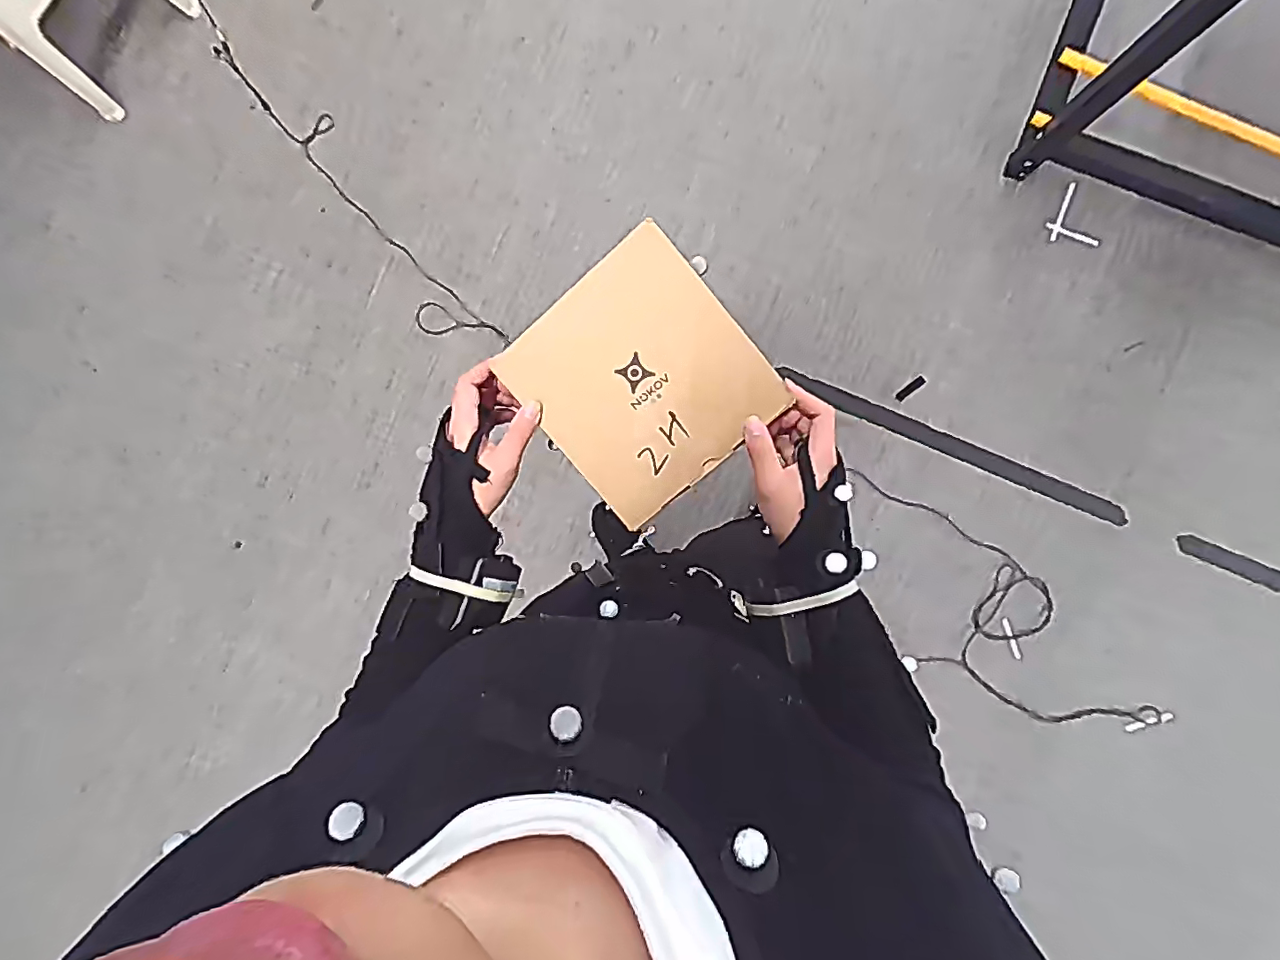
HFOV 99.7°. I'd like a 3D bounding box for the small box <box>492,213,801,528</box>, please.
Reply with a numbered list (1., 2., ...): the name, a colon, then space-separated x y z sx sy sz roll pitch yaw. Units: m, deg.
1. small box: 0.009 -0.089 0.478 0.168 0.176 0.179 -39 96 11
